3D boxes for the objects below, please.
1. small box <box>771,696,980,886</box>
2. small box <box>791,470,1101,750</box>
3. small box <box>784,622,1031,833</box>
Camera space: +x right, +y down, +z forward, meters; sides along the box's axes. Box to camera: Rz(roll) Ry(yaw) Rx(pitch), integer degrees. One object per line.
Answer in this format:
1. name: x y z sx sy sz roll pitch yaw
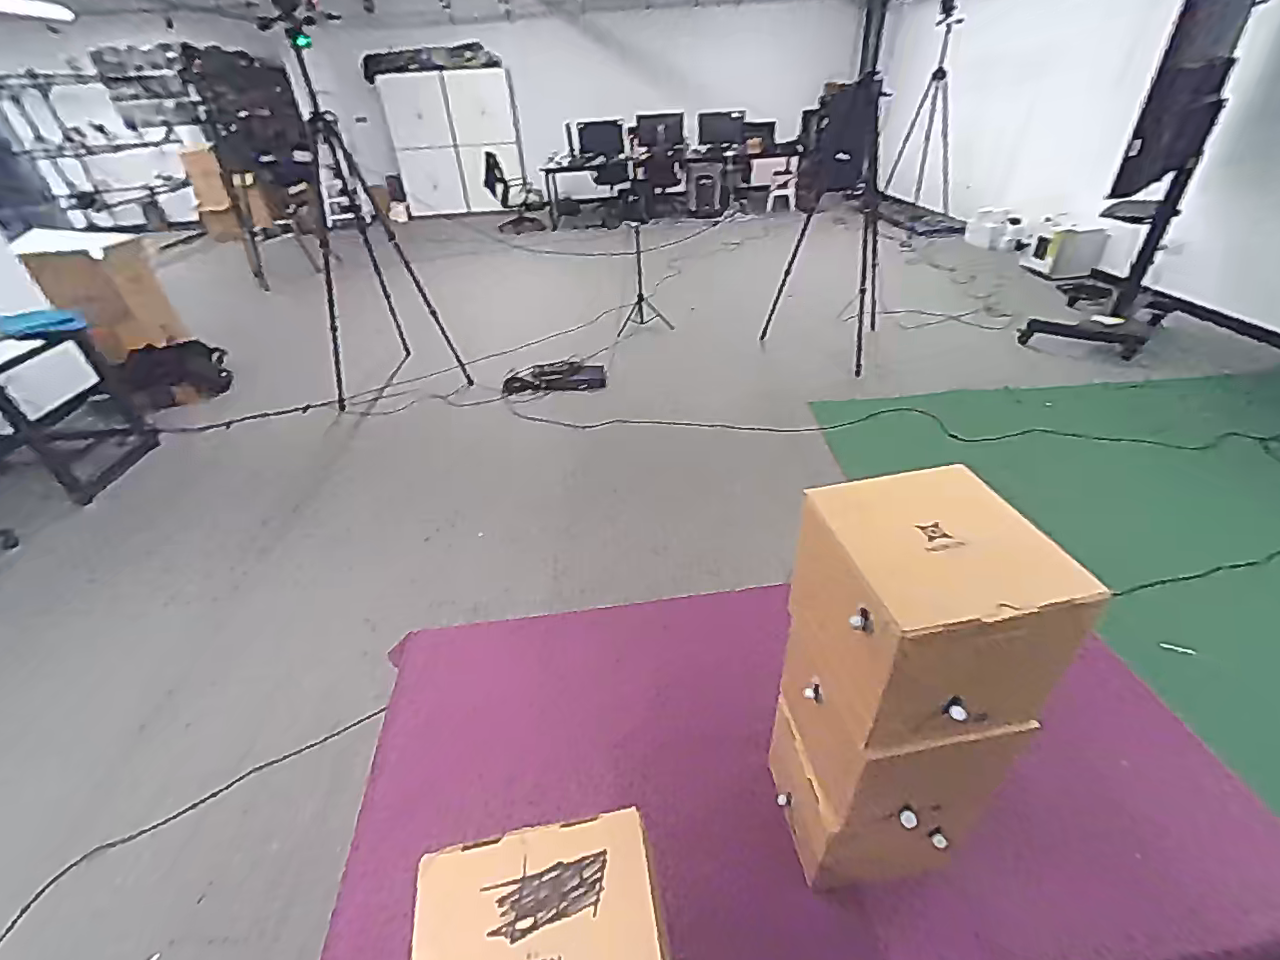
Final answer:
1. small box: 0.280 0.384 0.690 0.179 0.176 0.168 -7 35 -3
2. small box: 0.255 0.116 0.507 0.168 0.176 0.179 -9 37 -6
3. small box: 0.269 0.251 0.597 0.168 0.176 0.179 -8 37 -4
